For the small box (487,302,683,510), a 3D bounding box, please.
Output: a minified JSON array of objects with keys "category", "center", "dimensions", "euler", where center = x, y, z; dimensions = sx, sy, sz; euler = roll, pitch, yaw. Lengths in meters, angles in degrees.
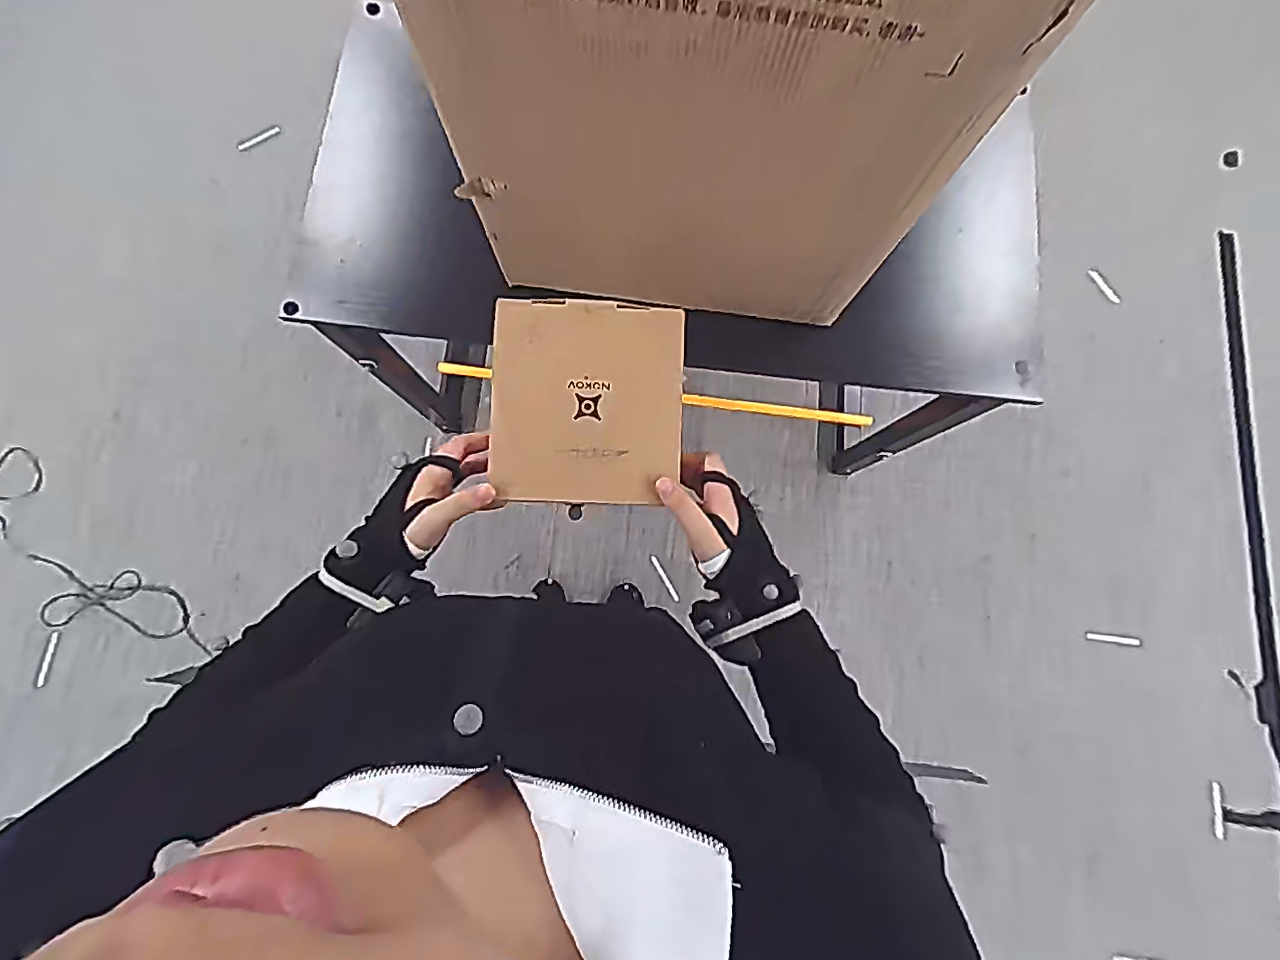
[{"category":"small box","center":[-0.052,-0.061,0.548],"dimensions":[0.168,0.176,0.179],"euler":[2,87,-4]}]
